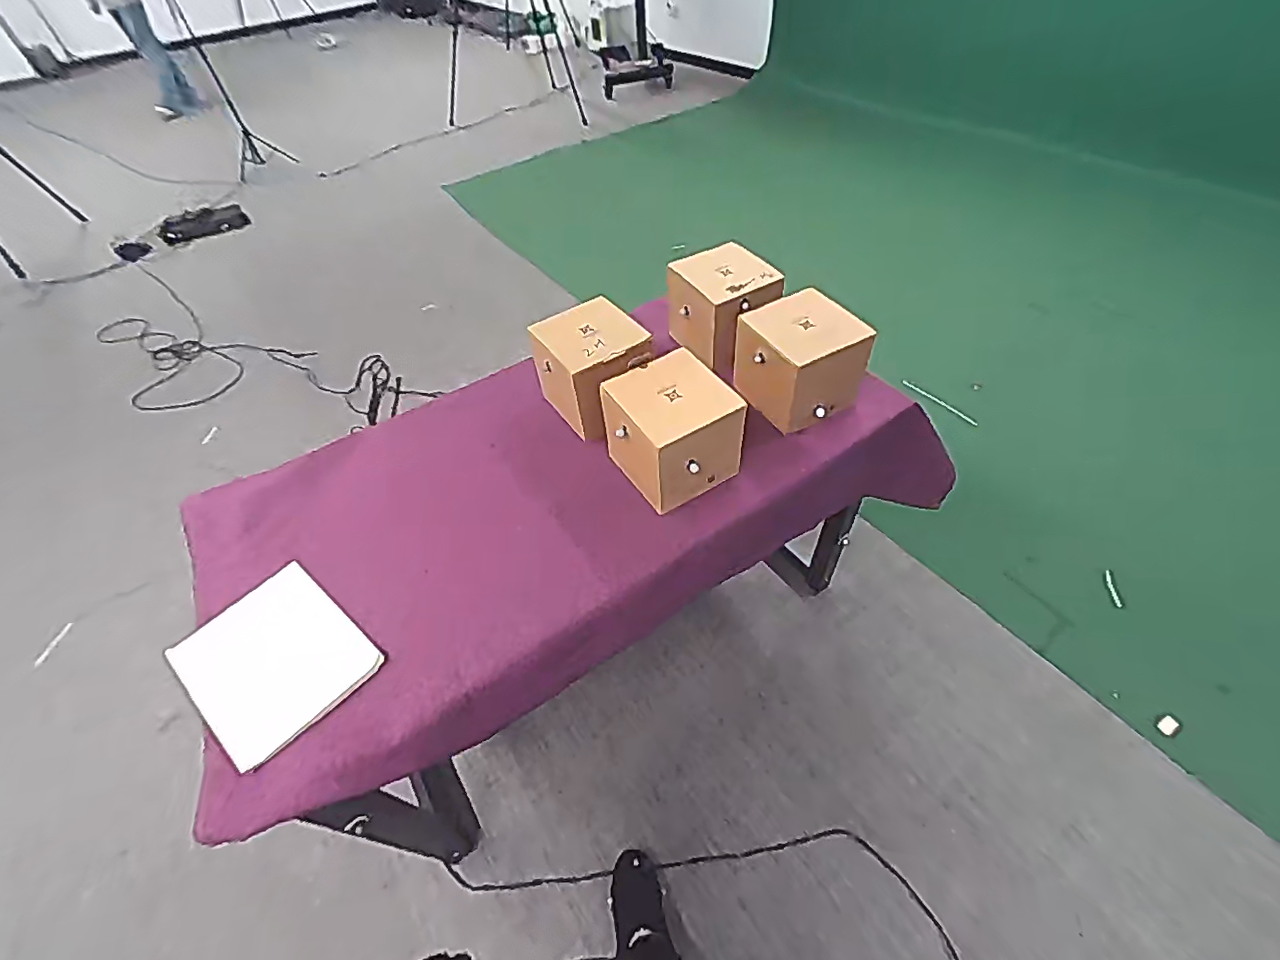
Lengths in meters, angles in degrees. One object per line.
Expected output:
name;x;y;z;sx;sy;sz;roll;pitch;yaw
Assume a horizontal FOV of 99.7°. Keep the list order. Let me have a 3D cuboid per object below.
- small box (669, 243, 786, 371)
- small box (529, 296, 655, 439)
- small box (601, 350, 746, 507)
small box;0.172;-0.355;1.117;0.168;0.176;0.179;-25;53;-15
small box;-0.086;-0.209;1.015;0.168;0.176;0.179;-29;55;-19
small box;0.055;-0.078;0.898;0.168;0.176;0.179;-27;53;-17
